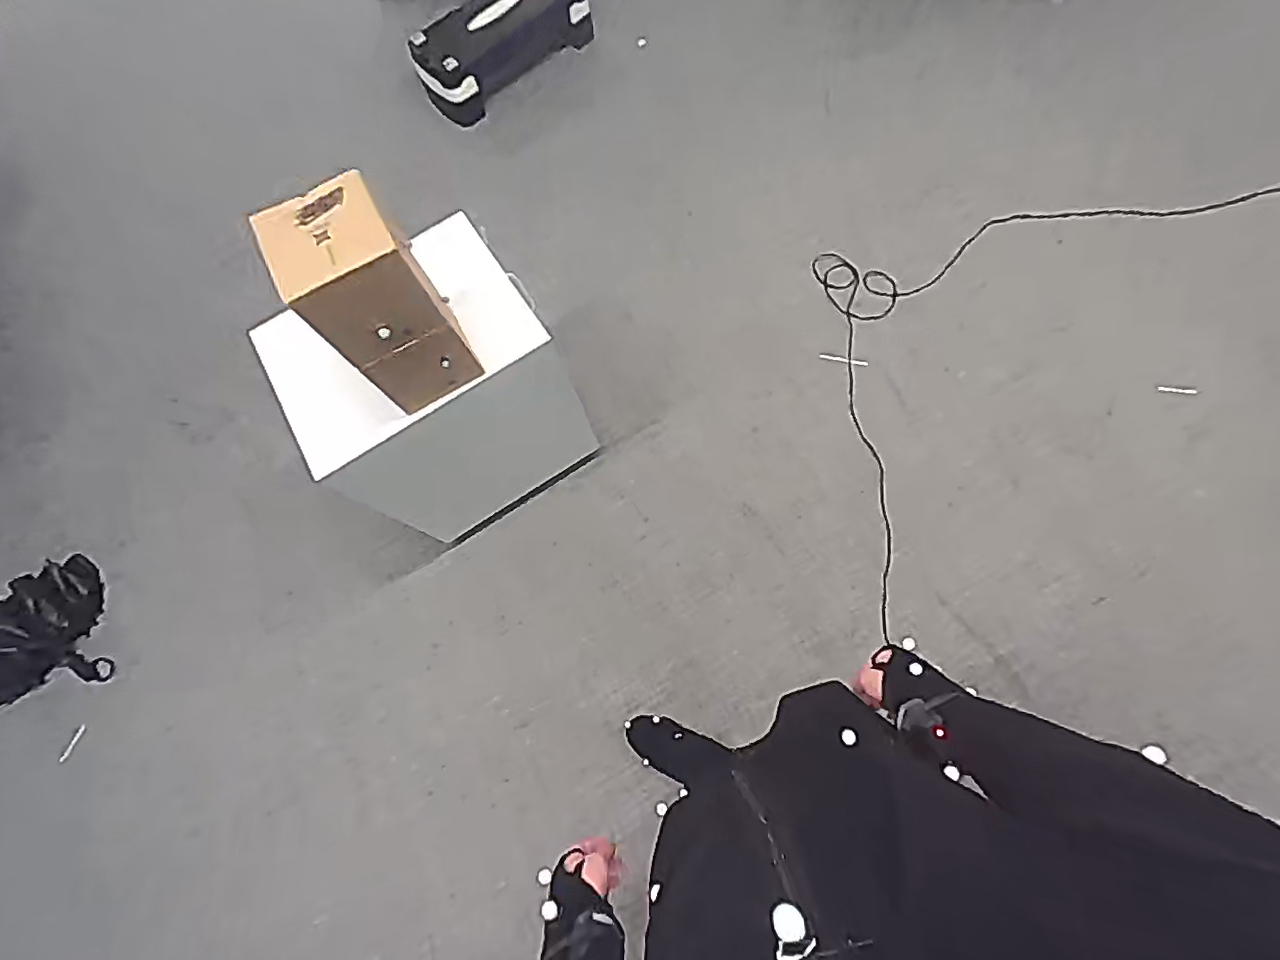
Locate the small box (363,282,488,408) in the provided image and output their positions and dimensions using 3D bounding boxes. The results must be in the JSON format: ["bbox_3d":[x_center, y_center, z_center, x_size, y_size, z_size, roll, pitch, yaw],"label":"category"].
[{"bbox_3d":[-0.401,-0.254,0.979,0.168,0.176,0.179,-30,69,-6],"label":"small box"}]

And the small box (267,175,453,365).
[{"bbox_3d":[-0.417,-0.311,0.826,0.168,0.176,0.179,-29,71,-5],"label":"small box"}]
